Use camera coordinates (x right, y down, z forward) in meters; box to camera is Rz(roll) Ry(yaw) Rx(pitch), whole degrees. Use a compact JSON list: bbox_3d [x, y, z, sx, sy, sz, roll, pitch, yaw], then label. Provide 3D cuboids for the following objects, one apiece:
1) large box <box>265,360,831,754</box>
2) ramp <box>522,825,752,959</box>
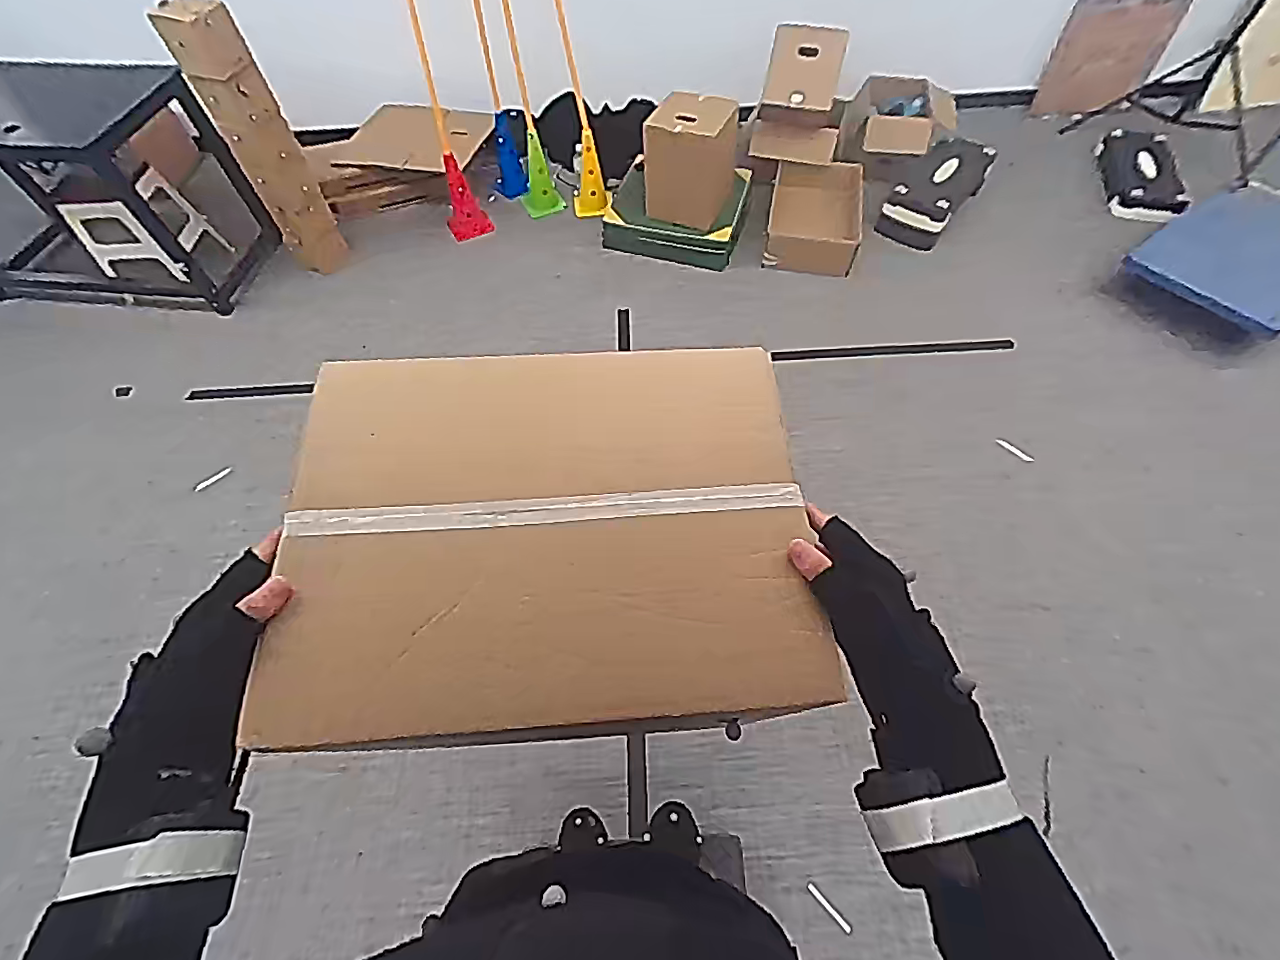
[{"bbox_3d":[-0.073,0.098,0.575,0.408,0.320,0.320,-3,63,-4],"label":"large box"},{"bbox_3d":[0.009,1.257,1.043,0.509,0.206,0.991,-4,59,-2],"label":"ramp"}]
